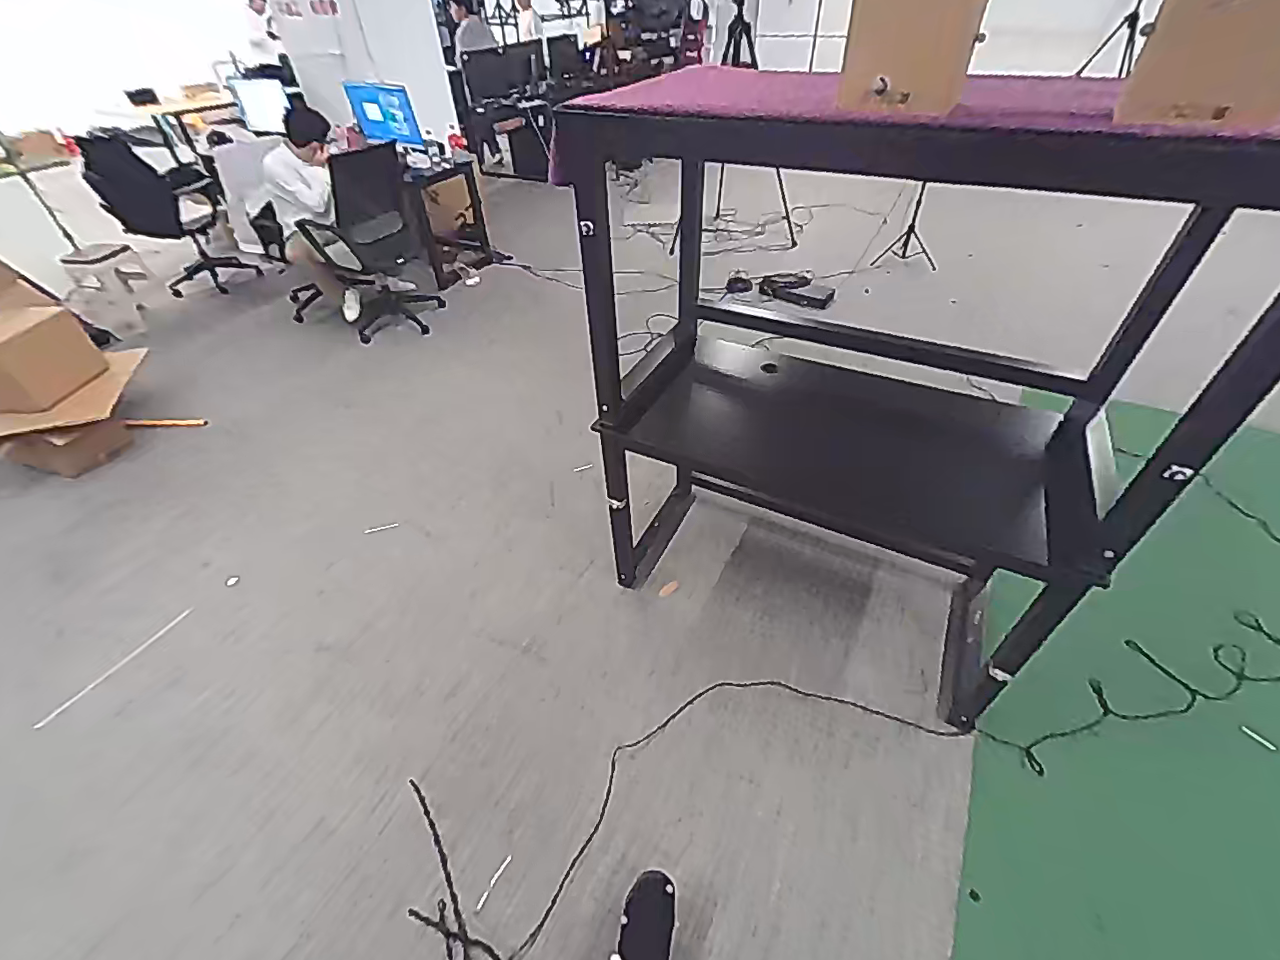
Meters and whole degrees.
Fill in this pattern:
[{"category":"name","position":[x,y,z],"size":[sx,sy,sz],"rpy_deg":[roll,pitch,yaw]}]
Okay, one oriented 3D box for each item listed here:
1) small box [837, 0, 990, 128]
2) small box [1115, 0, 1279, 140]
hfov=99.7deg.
[{"category":"small box","position":[0.424,-0.669,0.846],"size":[0.168,0.176,0.179],"rpy_deg":[20,46,25]},{"category":"small box","position":[0.760,-0.562,0.706],"size":[0.168,0.176,0.179],"rpy_deg":[21,47,26]}]
